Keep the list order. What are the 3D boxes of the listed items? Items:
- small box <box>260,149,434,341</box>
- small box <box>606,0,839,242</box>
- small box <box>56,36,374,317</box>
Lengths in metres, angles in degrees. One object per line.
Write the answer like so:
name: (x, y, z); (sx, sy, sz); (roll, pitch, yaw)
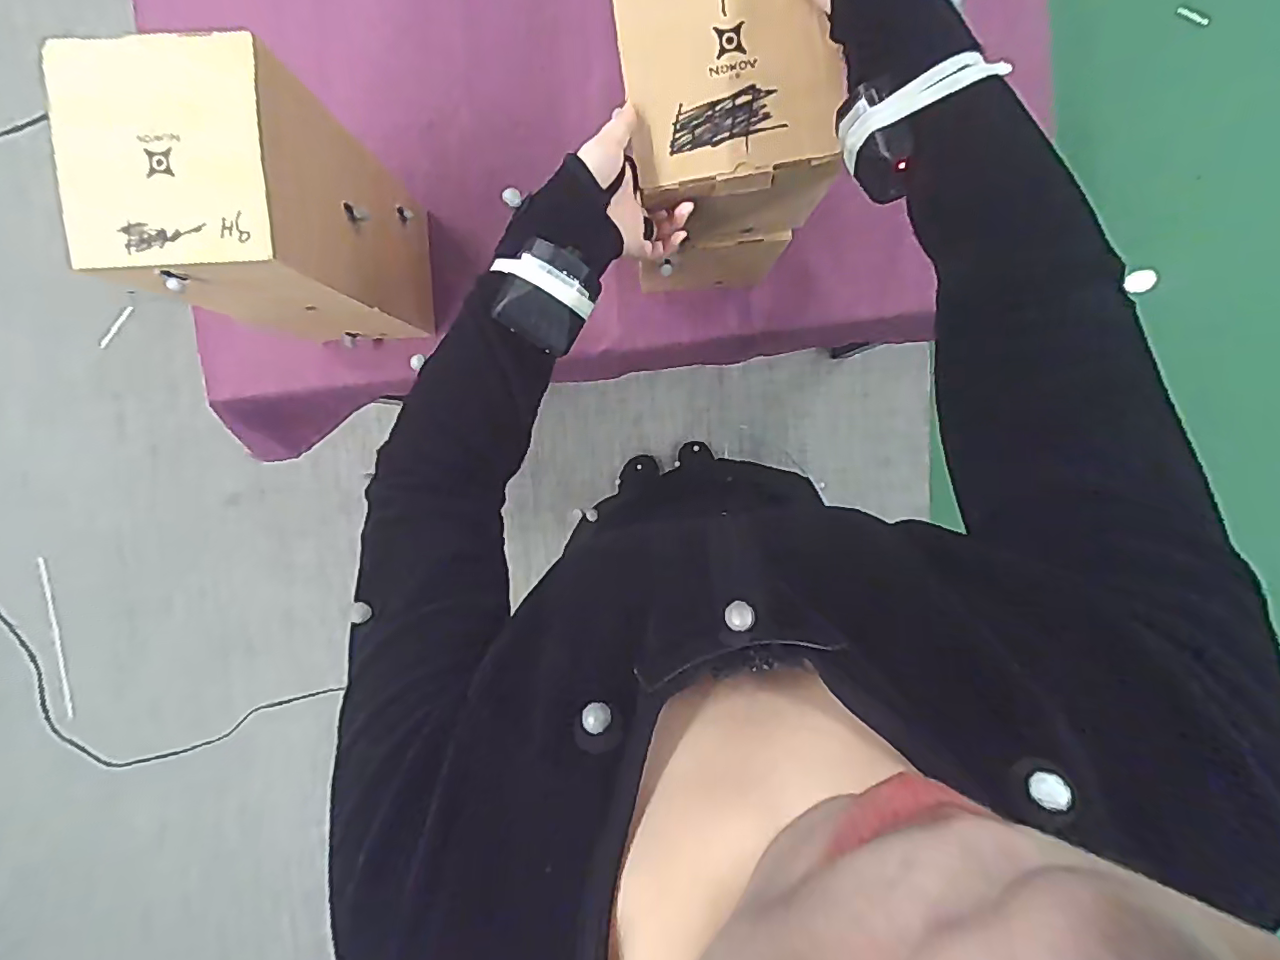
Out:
small box: (-0.372, -0.279, 0.675); (0.168, 0.176, 0.179); (-2, 95, 1)
small box: (0.068, -0.334, 0.491); (0.168, 0.176, 0.179); (-8, 96, 4)
small box: (-0.375, -0.264, 0.510); (0.168, 0.176, 0.179); (-2, 94, 3)
